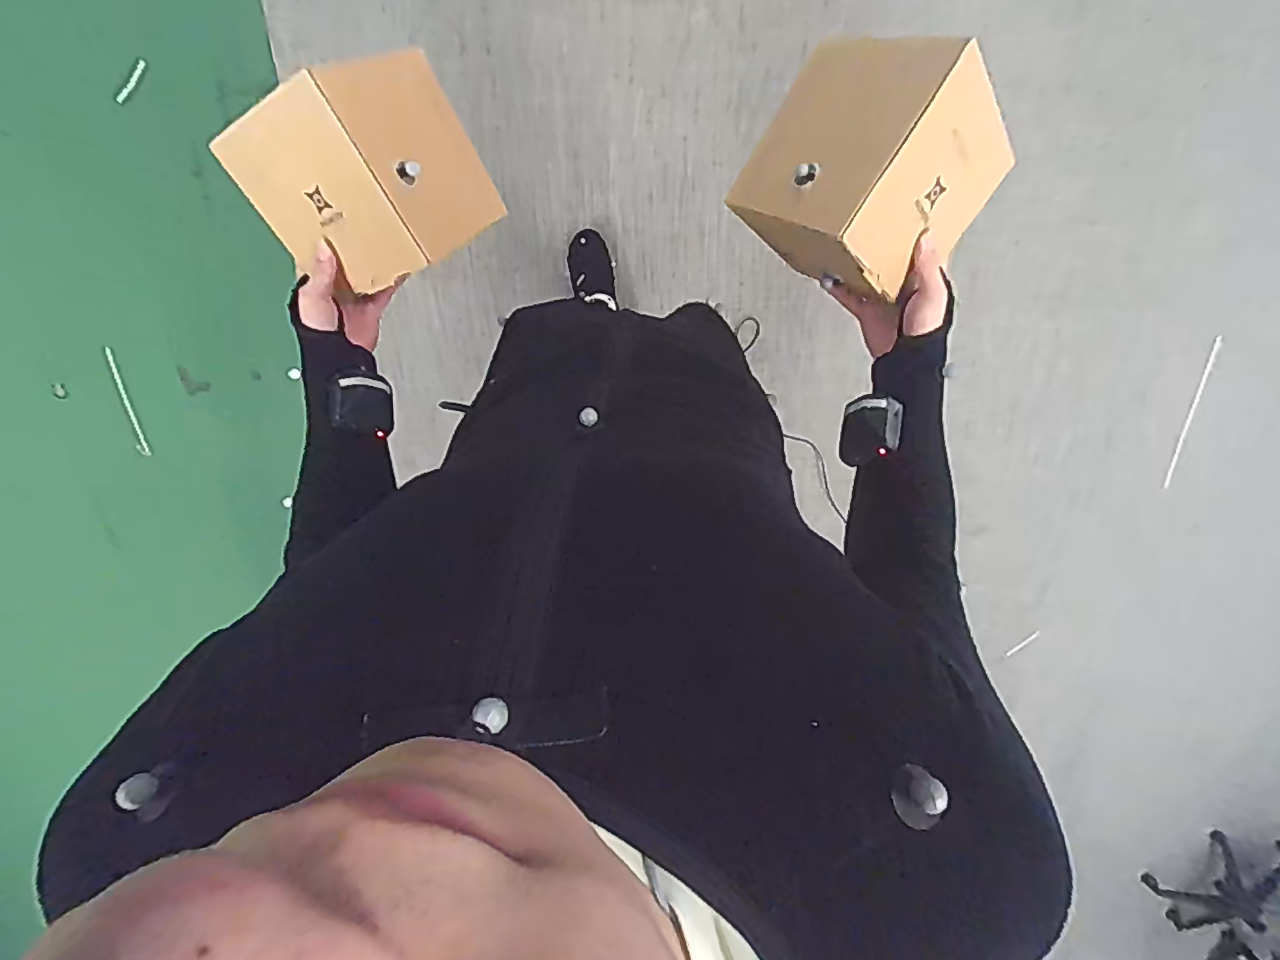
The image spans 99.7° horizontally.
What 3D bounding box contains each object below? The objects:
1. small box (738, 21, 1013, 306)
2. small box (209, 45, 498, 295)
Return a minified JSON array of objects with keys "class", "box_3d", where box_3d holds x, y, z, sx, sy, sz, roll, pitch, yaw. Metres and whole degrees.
[{"class":"small box","box_3d":[0.226,-0.314,0.551,0.168,0.176,0.179,17,111,-45]},{"class":"small box","box_3d":[-0.290,-0.335,0.585,0.168,0.176,0.179,-7,129,29]}]
